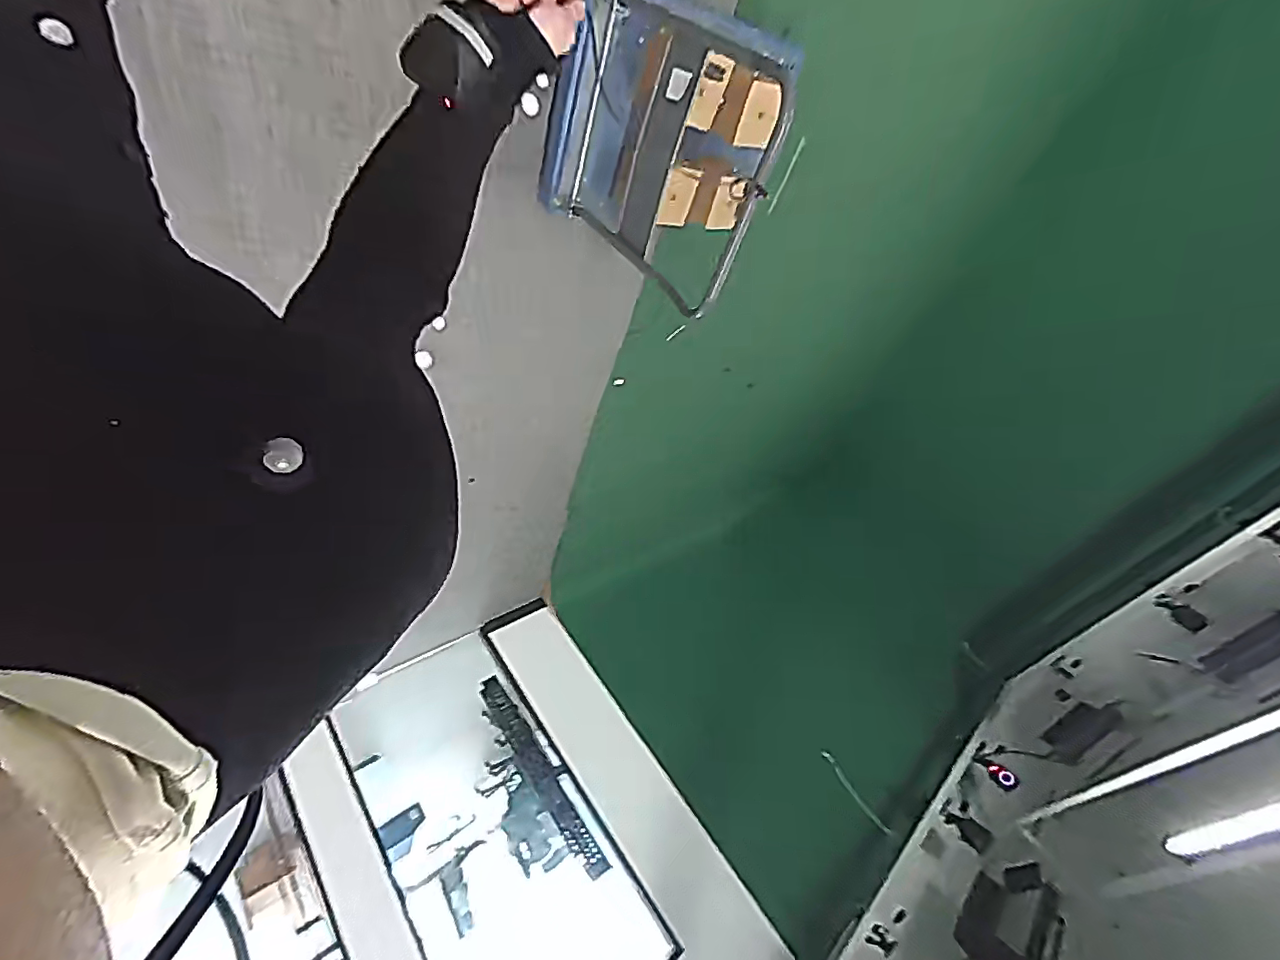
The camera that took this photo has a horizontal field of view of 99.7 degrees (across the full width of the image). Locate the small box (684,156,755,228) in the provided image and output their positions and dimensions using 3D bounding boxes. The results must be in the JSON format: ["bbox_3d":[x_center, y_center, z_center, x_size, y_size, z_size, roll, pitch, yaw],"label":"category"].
[{"bbox_3d":[0.245,-0.966,1.815,0.179,0.176,0.168,-19,145,-35],"label":"small box"}]

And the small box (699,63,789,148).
[{"bbox_3d":[0.309,-1.139,1.644,0.179,0.176,0.168,-21,147,-36],"label":"small box"}]

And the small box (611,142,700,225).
[{"bbox_3d":[0.044,-0.902,1.646,0.179,0.176,0.168,-16,144,-39],"label":"small box"}]
